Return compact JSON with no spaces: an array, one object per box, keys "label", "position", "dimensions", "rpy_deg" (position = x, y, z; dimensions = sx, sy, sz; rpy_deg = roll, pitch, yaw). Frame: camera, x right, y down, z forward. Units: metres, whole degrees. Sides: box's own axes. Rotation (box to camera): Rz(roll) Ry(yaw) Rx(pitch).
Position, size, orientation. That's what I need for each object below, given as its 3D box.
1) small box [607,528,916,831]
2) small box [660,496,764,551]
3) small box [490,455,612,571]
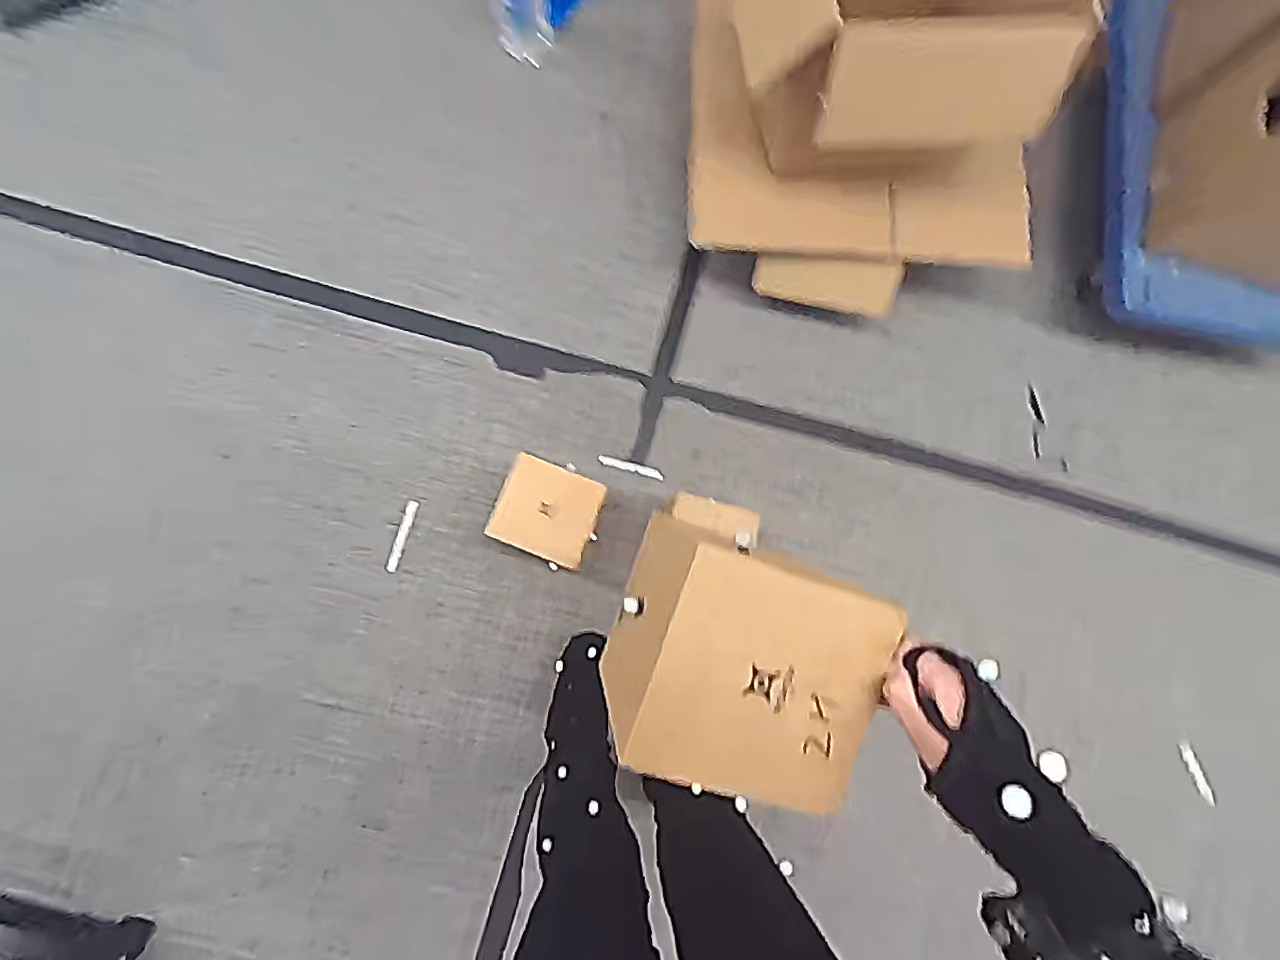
[{"label":"small box","position":[0.081,0.146,0.456],"dimensions":[0.179,0.176,0.168],"rpy_deg":[19,91,-11]},{"label":"small box","position":[0.127,0.143,1.076],"dimensions":[0.168,0.176,0.179],"rpy_deg":[16,82,-4]},{"label":"small box","position":[-0.167,0.069,1.059],"dimensions":[0.179,0.176,0.168],"rpy_deg":[22,82,-2]}]
